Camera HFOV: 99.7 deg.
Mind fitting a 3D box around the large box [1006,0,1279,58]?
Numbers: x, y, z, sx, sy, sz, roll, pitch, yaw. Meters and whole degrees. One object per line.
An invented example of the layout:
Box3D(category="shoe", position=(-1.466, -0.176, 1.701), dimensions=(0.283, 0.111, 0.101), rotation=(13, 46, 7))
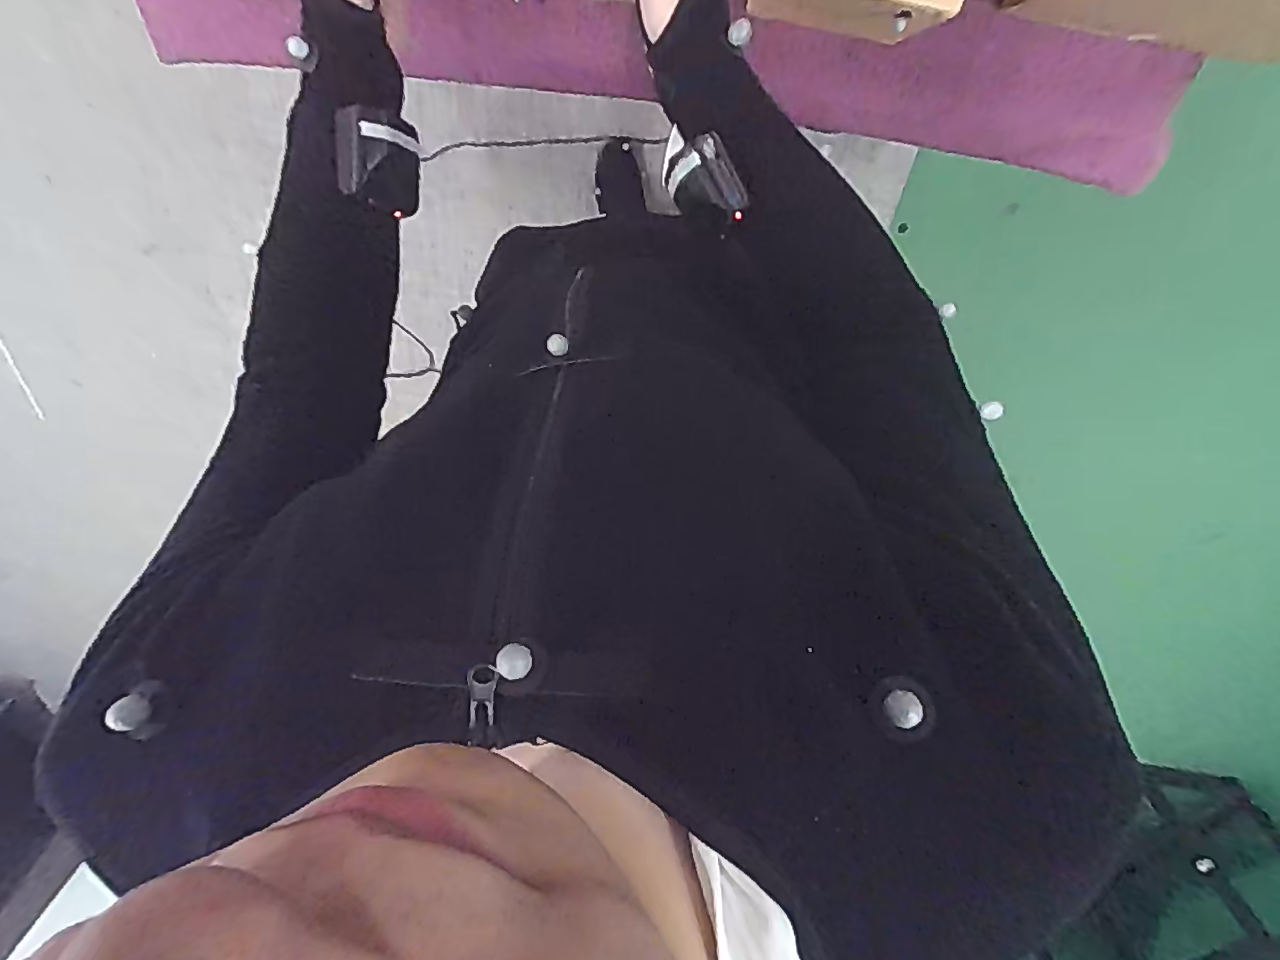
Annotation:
Box3D(category="large box", position=(0.565, -0.575, 0.369), dimensions=(0.320, 0.320, 0.408), rotation=(9, 124, -2))
